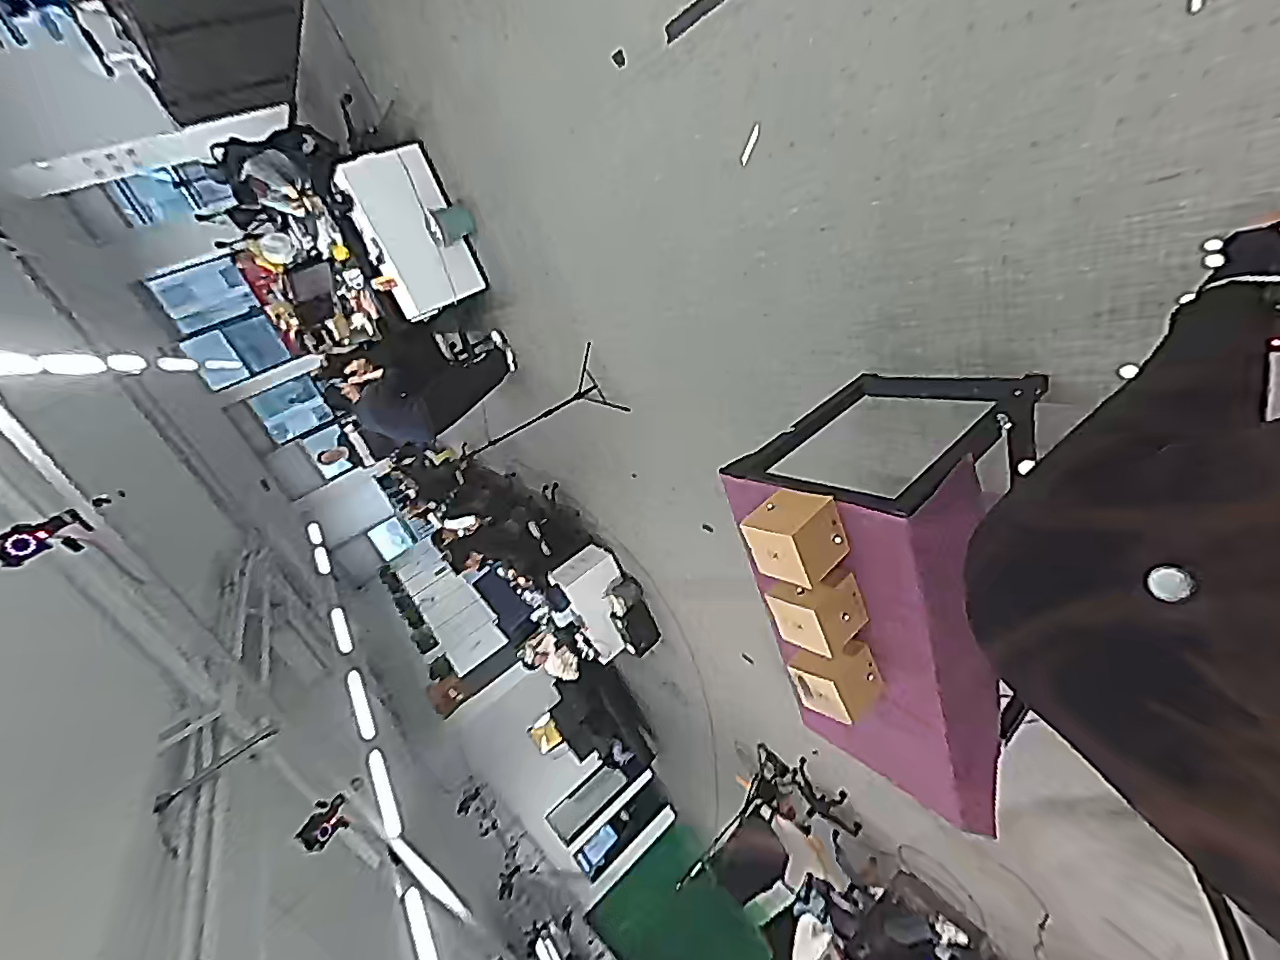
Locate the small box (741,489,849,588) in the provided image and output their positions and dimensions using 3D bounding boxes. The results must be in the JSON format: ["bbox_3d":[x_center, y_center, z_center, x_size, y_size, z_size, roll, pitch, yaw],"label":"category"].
[{"bbox_3d":[0.395,0.140,1.379,0.179,0.176,0.168,13,134,57],"label":"small box"}]

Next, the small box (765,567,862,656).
[{"bbox_3d":[0.481,0.341,1.477,0.179,0.176,0.168,10,129,58],"label":"small box"}]
